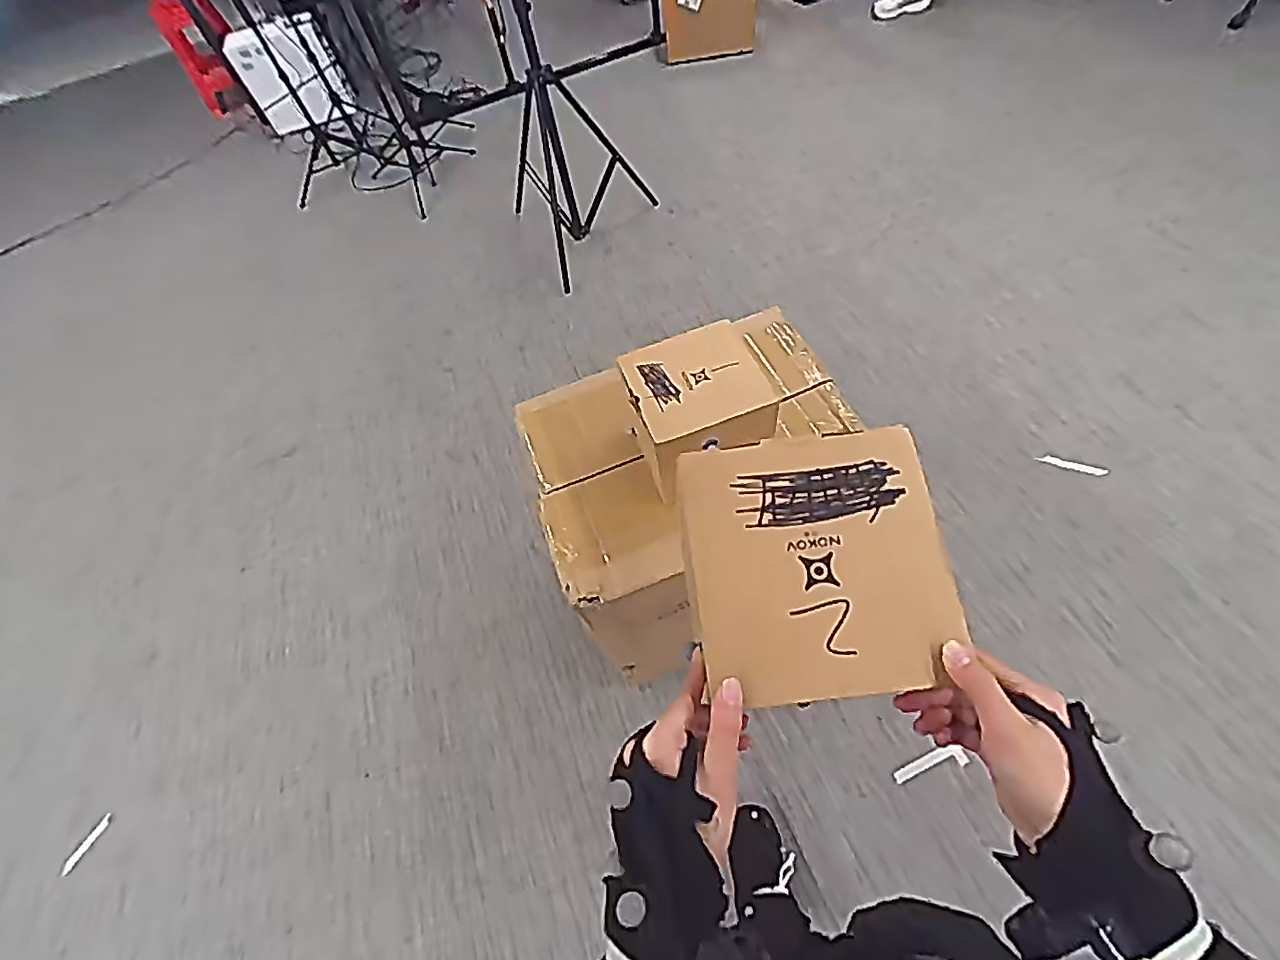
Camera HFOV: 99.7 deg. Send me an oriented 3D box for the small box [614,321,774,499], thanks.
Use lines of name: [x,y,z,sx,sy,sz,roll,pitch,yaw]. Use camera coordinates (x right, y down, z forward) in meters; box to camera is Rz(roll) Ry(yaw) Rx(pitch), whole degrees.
small box: [0.080,-0.096,0.800,0.179,0.176,0.168,-20,59,-4]
